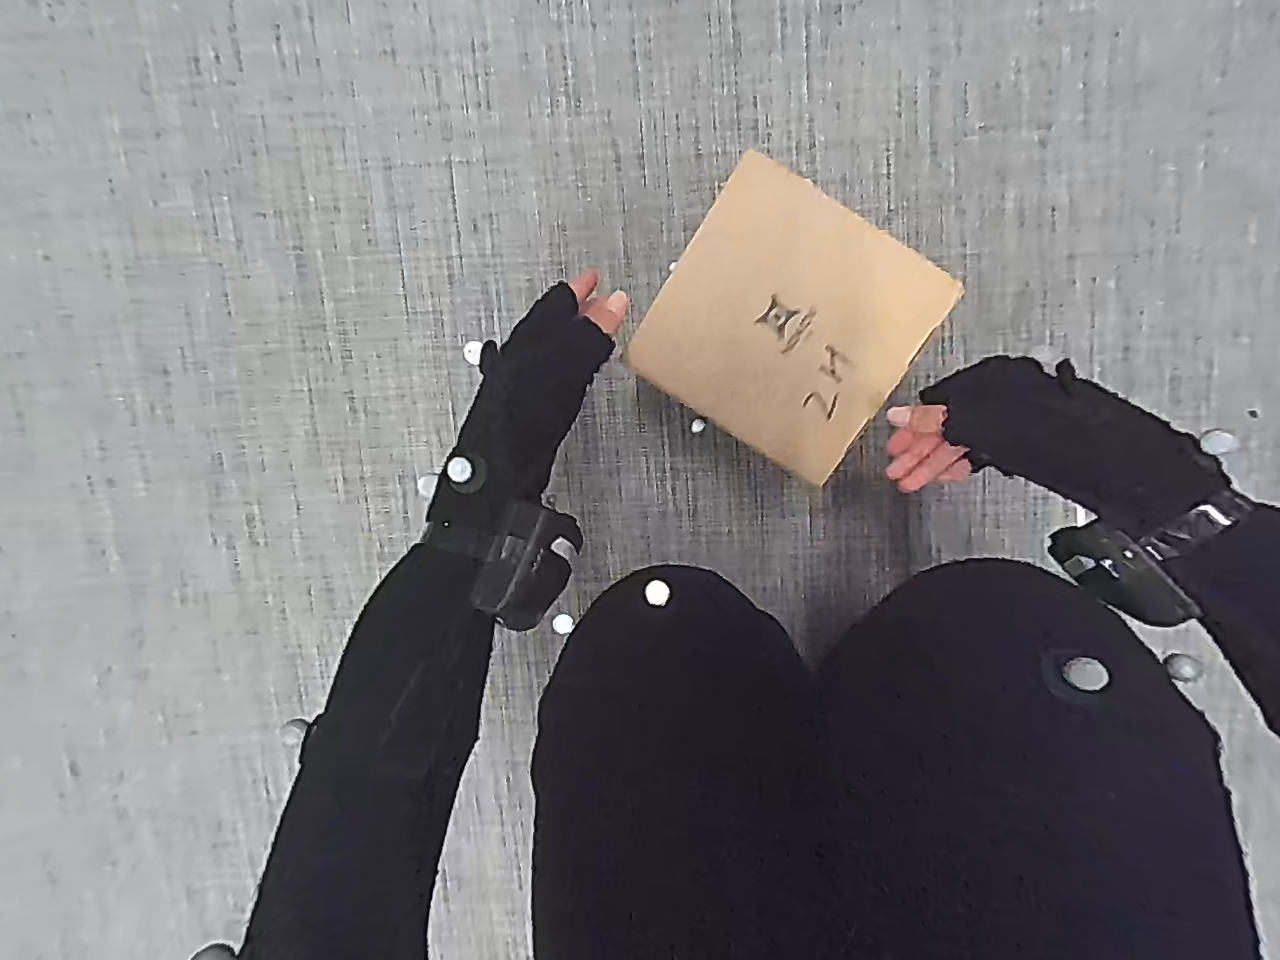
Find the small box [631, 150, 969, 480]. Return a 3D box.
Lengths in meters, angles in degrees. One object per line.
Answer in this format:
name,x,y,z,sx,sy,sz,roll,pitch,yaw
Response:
small box,0.113,-0.119,0.453,0.179,0.176,0.168,33,98,-1
